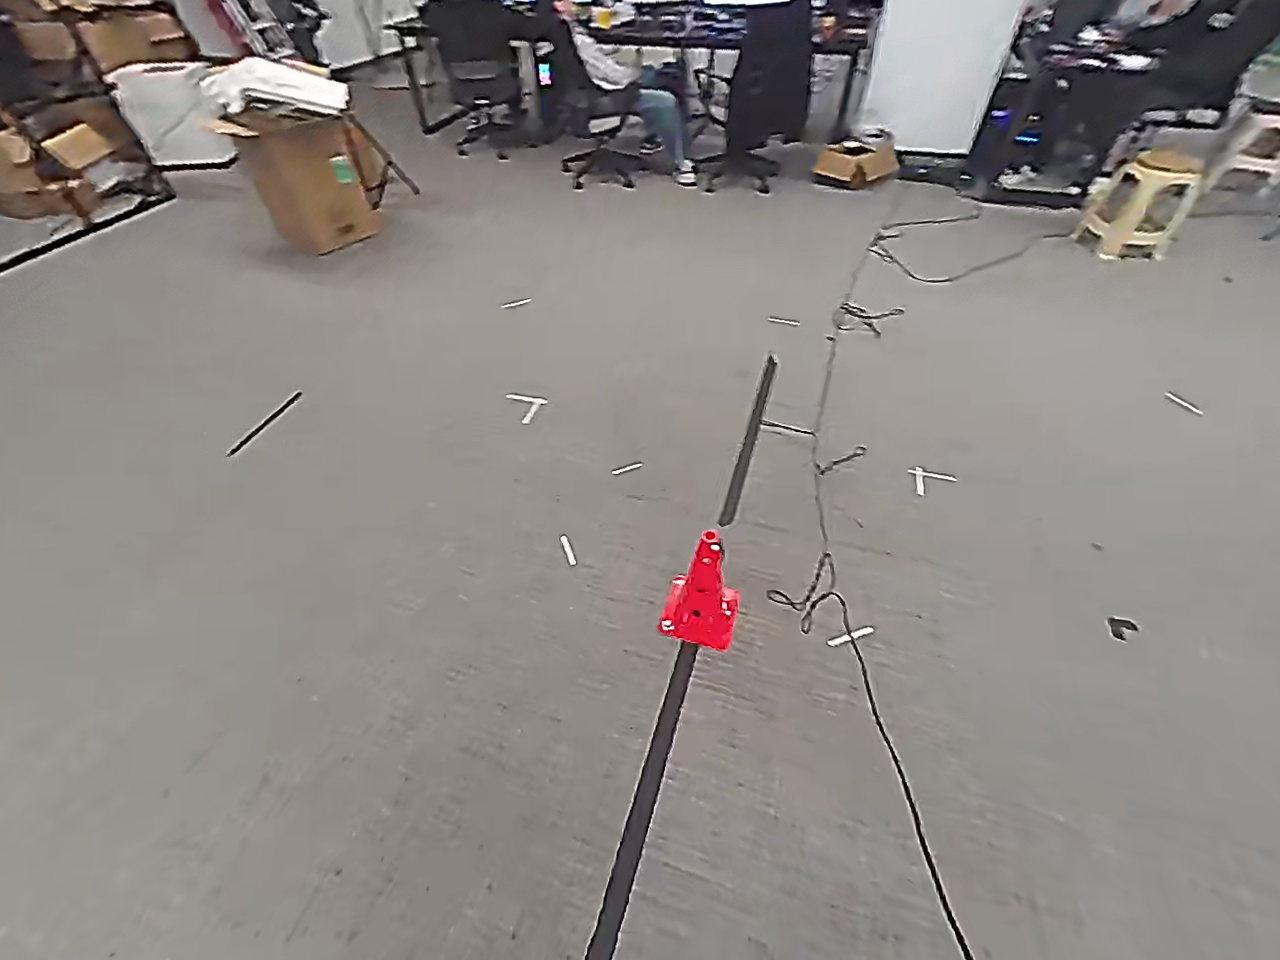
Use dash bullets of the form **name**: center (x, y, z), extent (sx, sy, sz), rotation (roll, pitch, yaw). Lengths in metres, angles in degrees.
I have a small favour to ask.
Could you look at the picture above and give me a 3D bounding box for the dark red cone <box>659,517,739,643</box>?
- **dark red cone**: center (0.170, 0.237, 1.402), extent (0.201, 0.394, 0.202), rotation (13, 48, 11)
